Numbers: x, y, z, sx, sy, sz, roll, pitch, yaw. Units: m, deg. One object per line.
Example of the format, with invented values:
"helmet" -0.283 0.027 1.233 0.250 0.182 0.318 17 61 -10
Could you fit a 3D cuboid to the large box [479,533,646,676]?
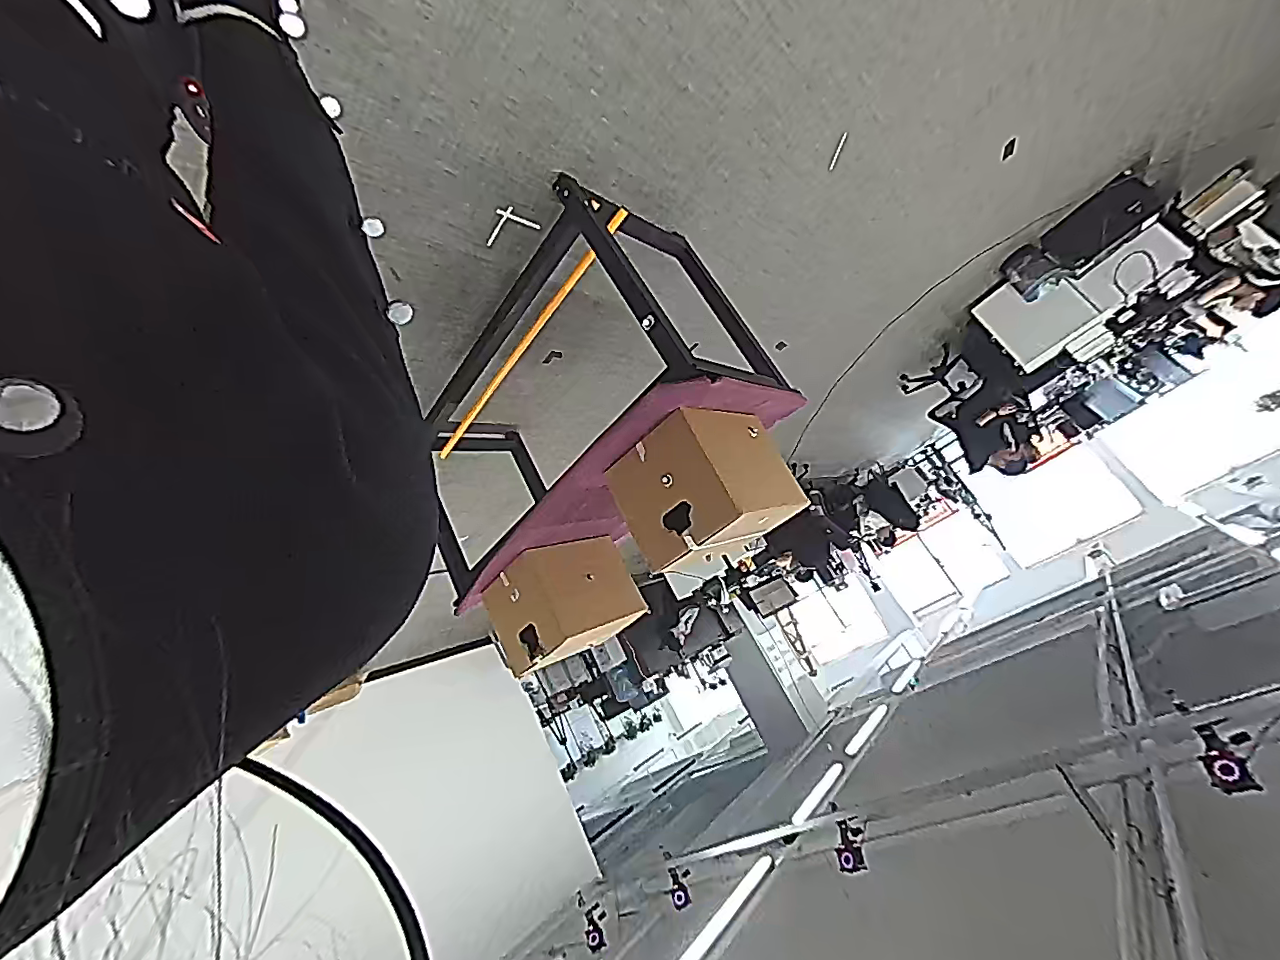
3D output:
"large box" -0.267 0.410 1.857 0.320 0.320 0.408 -41 158 32
